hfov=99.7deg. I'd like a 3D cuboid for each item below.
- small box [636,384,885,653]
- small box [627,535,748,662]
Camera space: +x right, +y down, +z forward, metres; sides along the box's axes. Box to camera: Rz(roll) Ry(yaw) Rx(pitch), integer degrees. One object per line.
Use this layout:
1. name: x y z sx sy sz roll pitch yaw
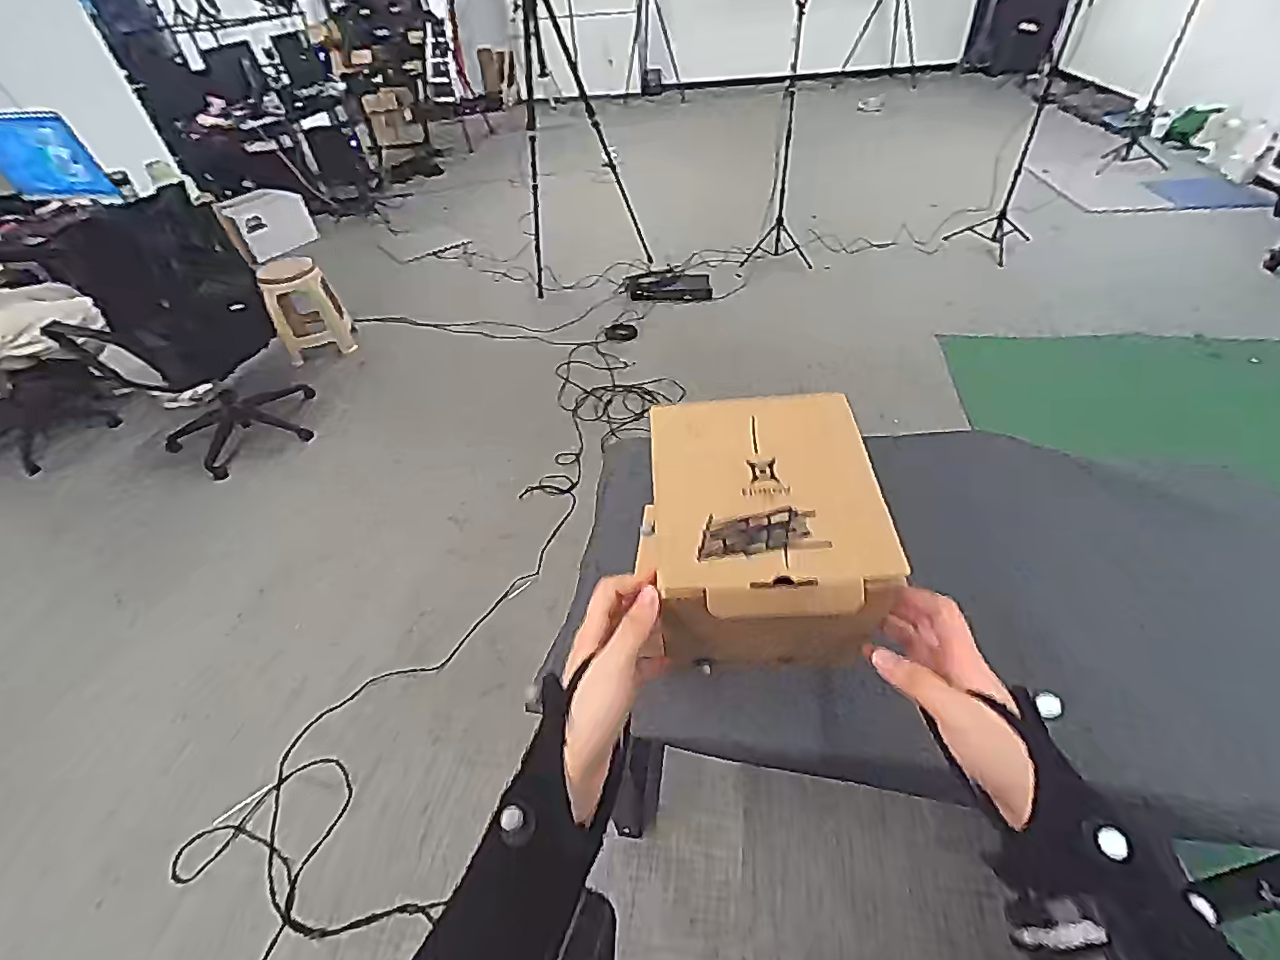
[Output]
1. small box: 0.086 0.042 0.468 0.168 0.176 0.179 -4 53 3
2. small box: 0.083 0.156 0.812 0.179 0.176 0.168 1 42 8
